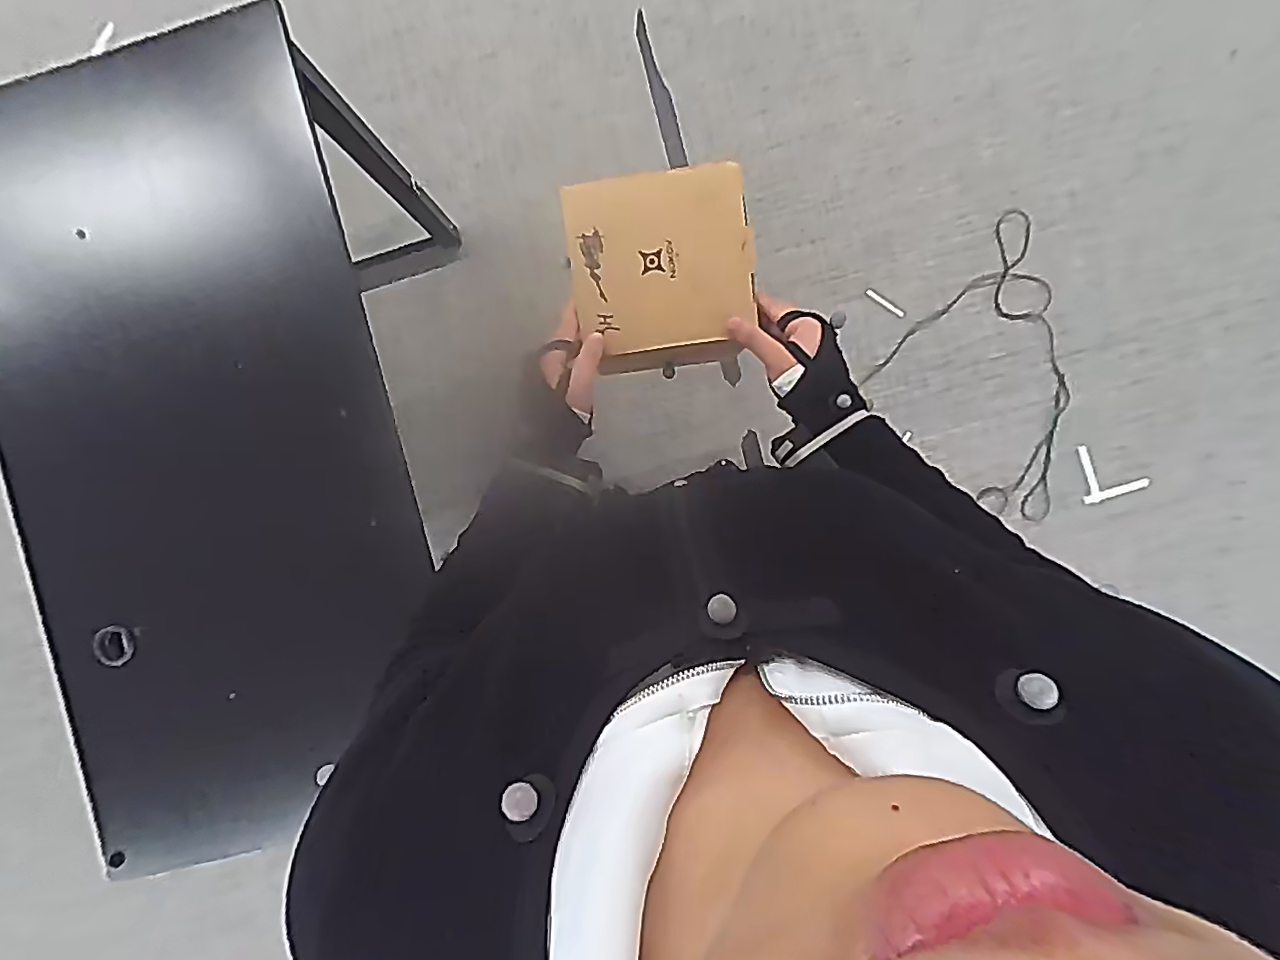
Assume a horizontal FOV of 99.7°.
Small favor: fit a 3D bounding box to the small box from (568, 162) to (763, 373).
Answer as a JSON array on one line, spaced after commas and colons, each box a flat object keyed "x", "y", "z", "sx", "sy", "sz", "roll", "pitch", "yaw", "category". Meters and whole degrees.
[{"x": 0.024, "y": -0.219, "z": 0.600, "sx": 0.179, "sy": 0.176, "sz": 0.168, "roll": -7, "pitch": 93, "yaw": 0, "category": "small box"}]
